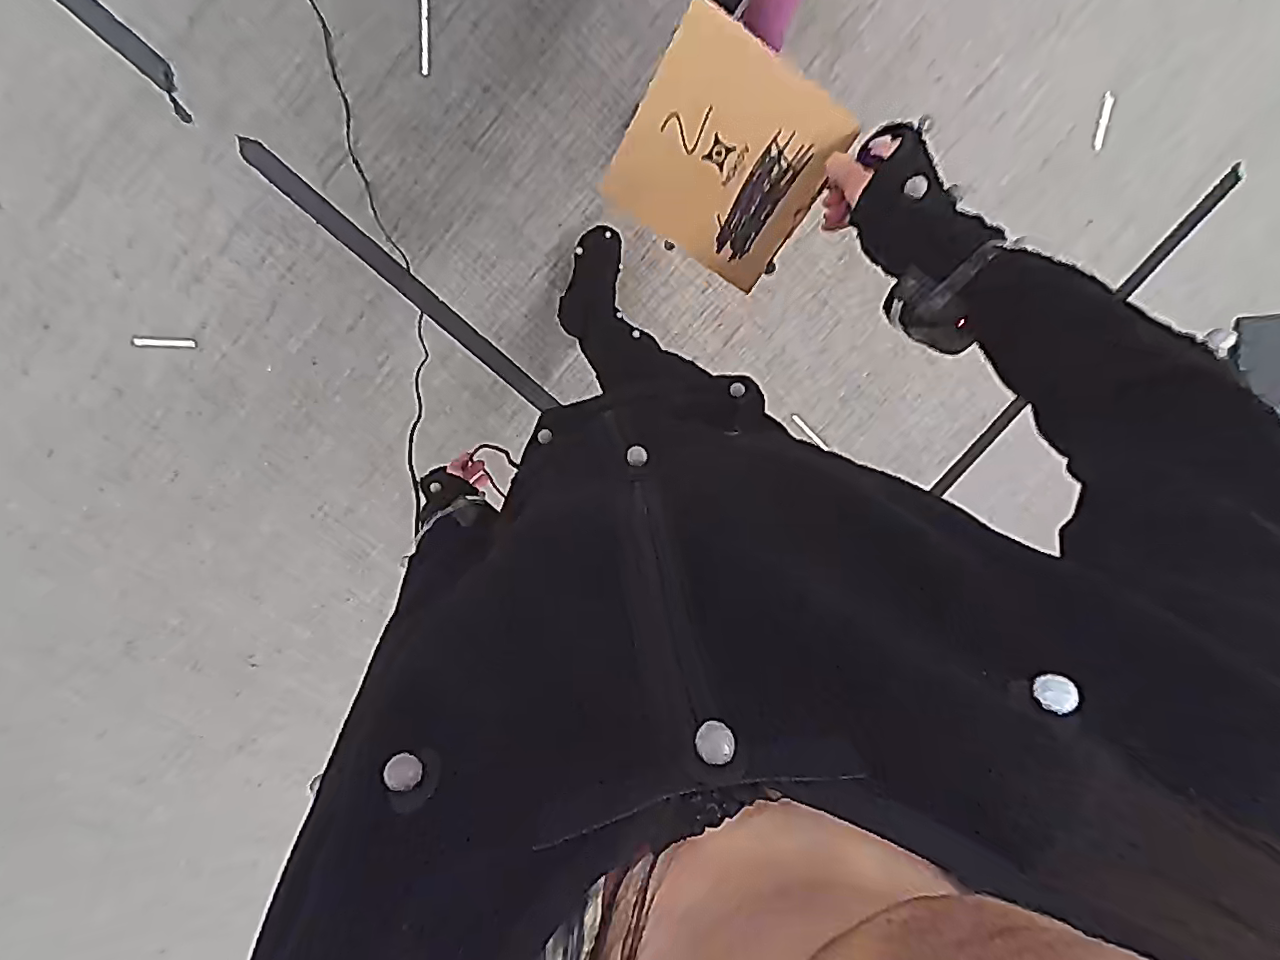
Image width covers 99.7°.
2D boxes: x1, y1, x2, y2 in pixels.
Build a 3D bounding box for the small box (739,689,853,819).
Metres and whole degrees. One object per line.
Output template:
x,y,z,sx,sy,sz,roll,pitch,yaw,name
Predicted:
0.352,0.638,1.271,0.168,0.176,0.179,42,97,-17,small box
